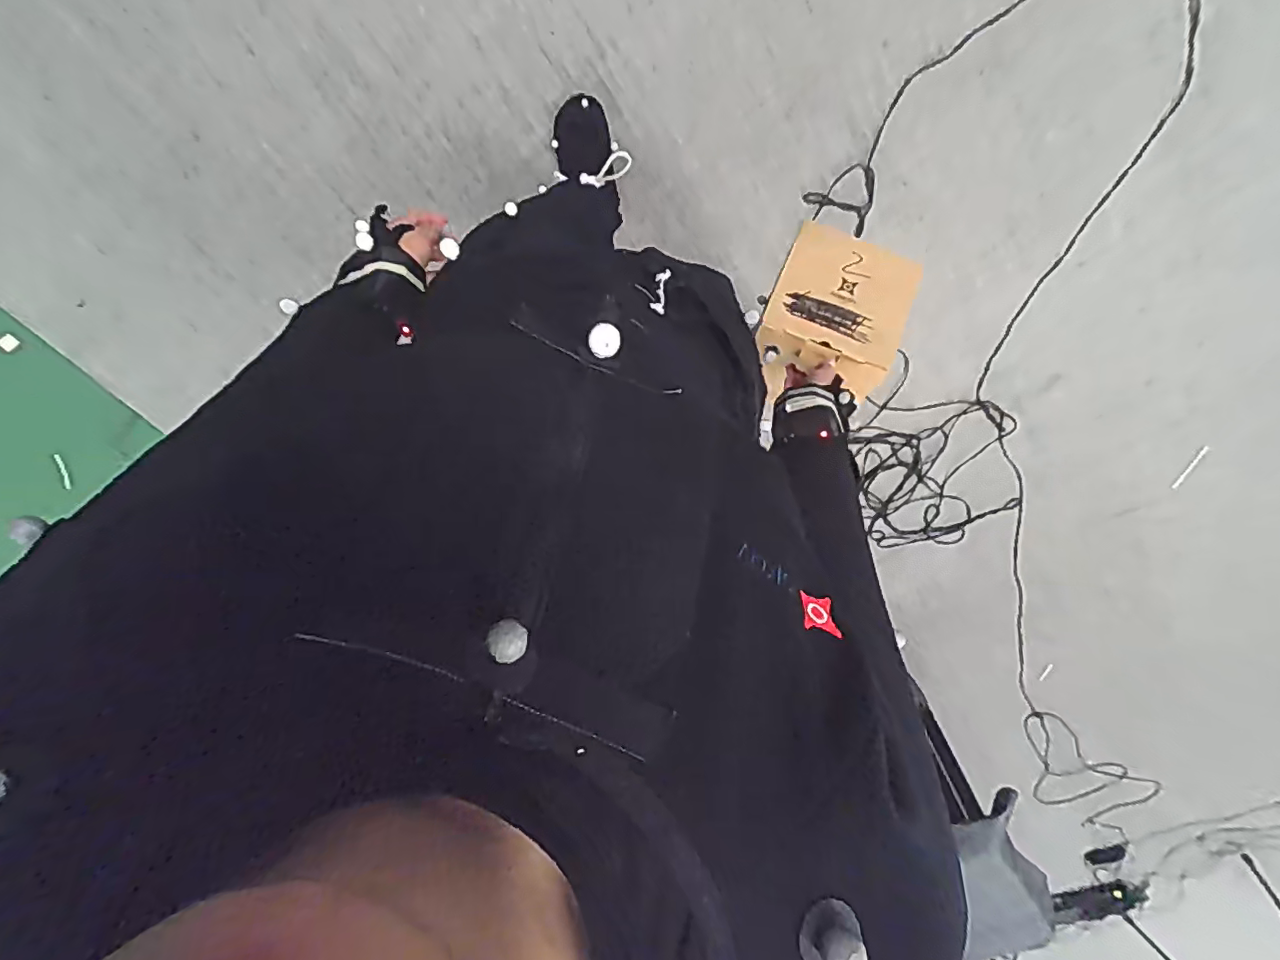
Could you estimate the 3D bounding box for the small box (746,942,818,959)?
[{"bbox_3d":[0.385,1.316,1.376,0.168,0.176,0.179,-22,120,13],"label":"small box"}]
